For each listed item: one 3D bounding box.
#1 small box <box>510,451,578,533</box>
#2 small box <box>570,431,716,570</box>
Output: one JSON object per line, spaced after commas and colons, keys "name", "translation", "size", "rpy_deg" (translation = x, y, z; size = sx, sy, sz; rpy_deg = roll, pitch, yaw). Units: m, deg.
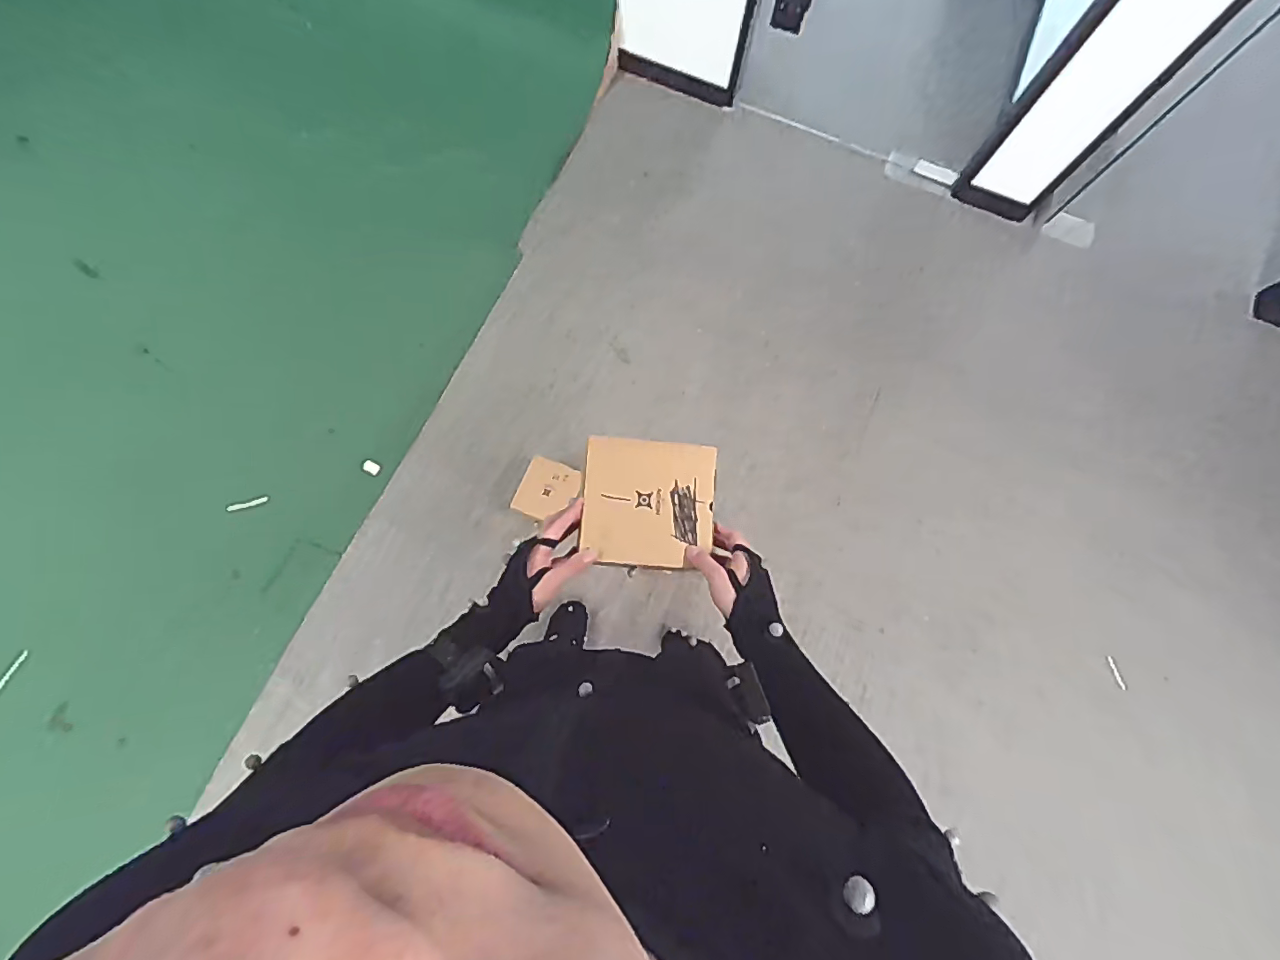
{"name": "small box", "translation": [-0.262, 0.044, 1.611], "size": [0.168, 0.176, 0.179], "rpy_deg": [23, 76, 3]}
{"name": "small box", "translation": [-0.003, 0.038, 0.767], "size": [0.179, 0.176, 0.168], "rpy_deg": [5, 79, -8]}
